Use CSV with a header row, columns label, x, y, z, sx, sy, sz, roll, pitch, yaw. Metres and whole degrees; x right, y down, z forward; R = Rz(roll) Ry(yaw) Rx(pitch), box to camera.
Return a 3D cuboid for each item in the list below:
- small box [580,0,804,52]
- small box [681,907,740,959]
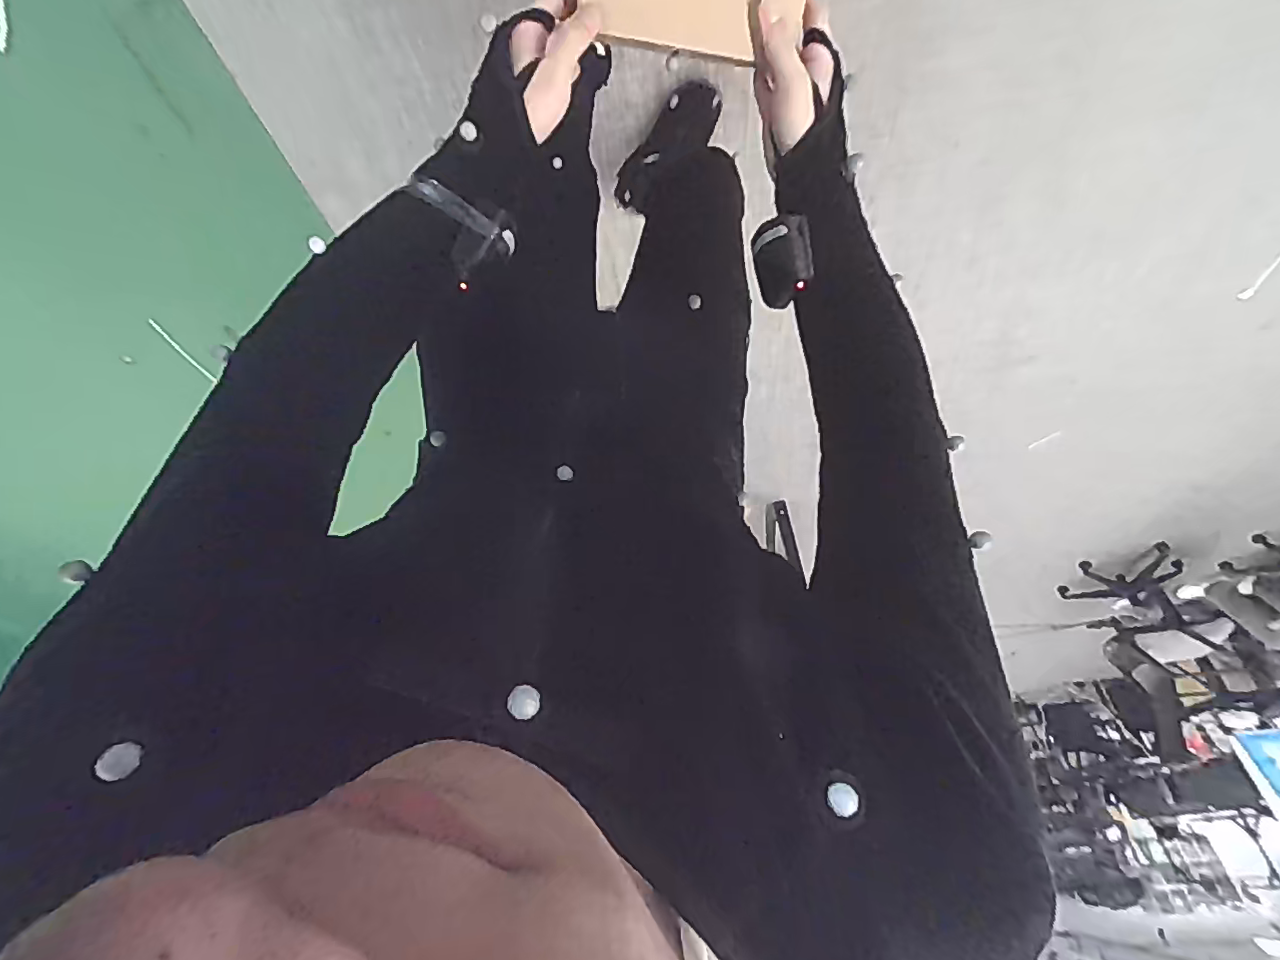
label,x,y,z,sx,sy,sz,roll,pitch,yaw
small box,0.047,-0.470,0.446,0.179,0.176,0.168,5,127,-7
small box,0.224,1.483,1.733,0.179,0.176,0.168,-6,146,2
